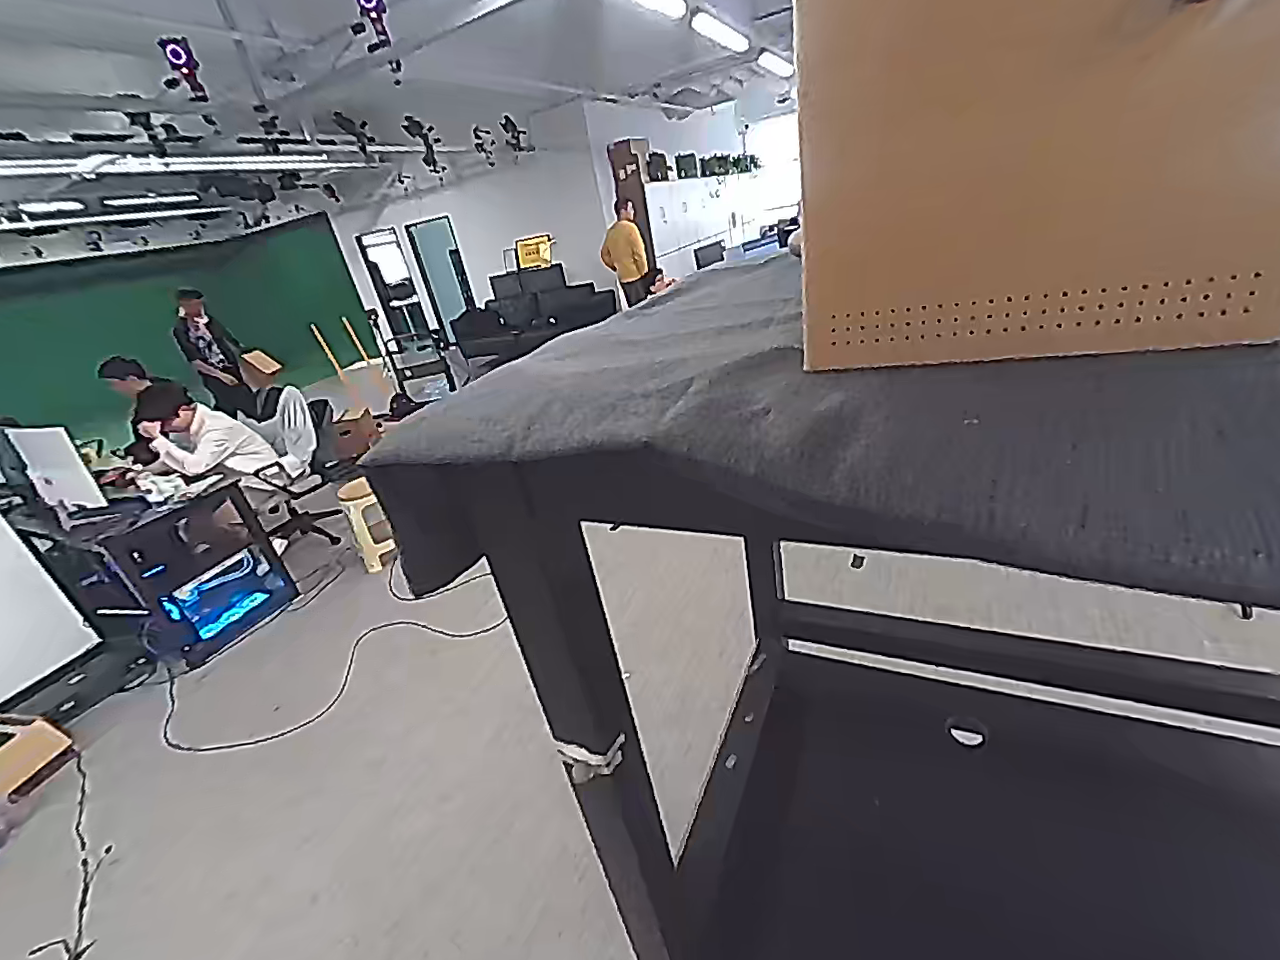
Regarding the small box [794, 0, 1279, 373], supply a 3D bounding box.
[{"bbox_3d":[0.178,-0.158,0.266,0.179,0.176,0.168,1,27,24],"label":"small box"}]
